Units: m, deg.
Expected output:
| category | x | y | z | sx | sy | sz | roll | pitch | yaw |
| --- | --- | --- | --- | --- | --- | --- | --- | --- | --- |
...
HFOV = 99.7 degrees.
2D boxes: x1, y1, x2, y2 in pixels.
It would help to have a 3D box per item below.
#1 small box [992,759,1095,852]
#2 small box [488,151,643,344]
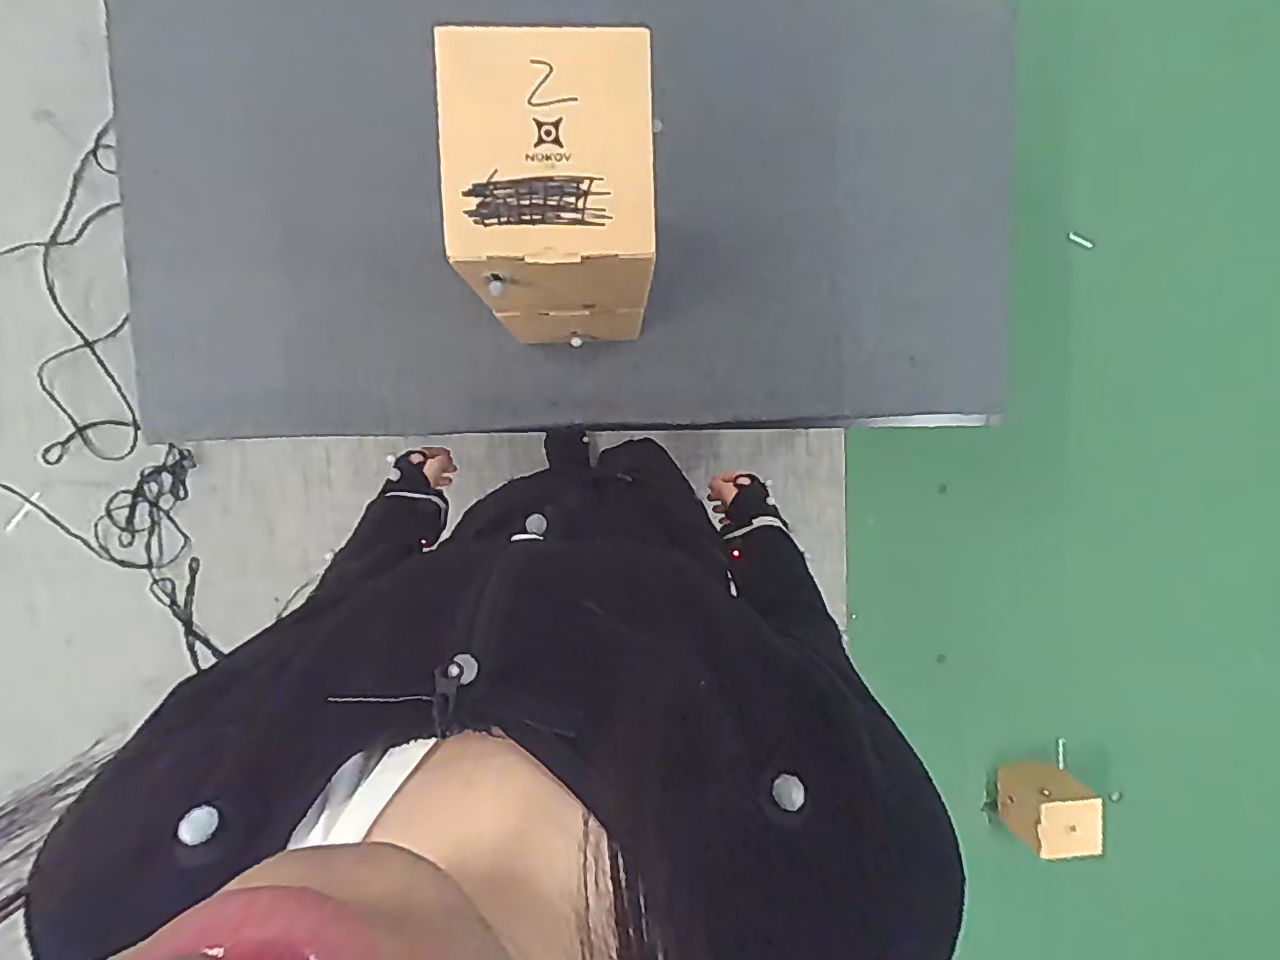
| category | x | y | z | sx | sy | sz | roll | pitch | yaw |
| --- | --- | --- | --- | --- | --- | --- | --- | --- | --- |
| small box | 1.168 | 0.937 | 1.572 | 0.179 | 0.176 | 0.168 | -4 | 95 | -3 |
| small box | -0.085 | -0.273 | 0.668 | 0.168 | 0.176 | 0.179 | -3 | 94 | -3 |
